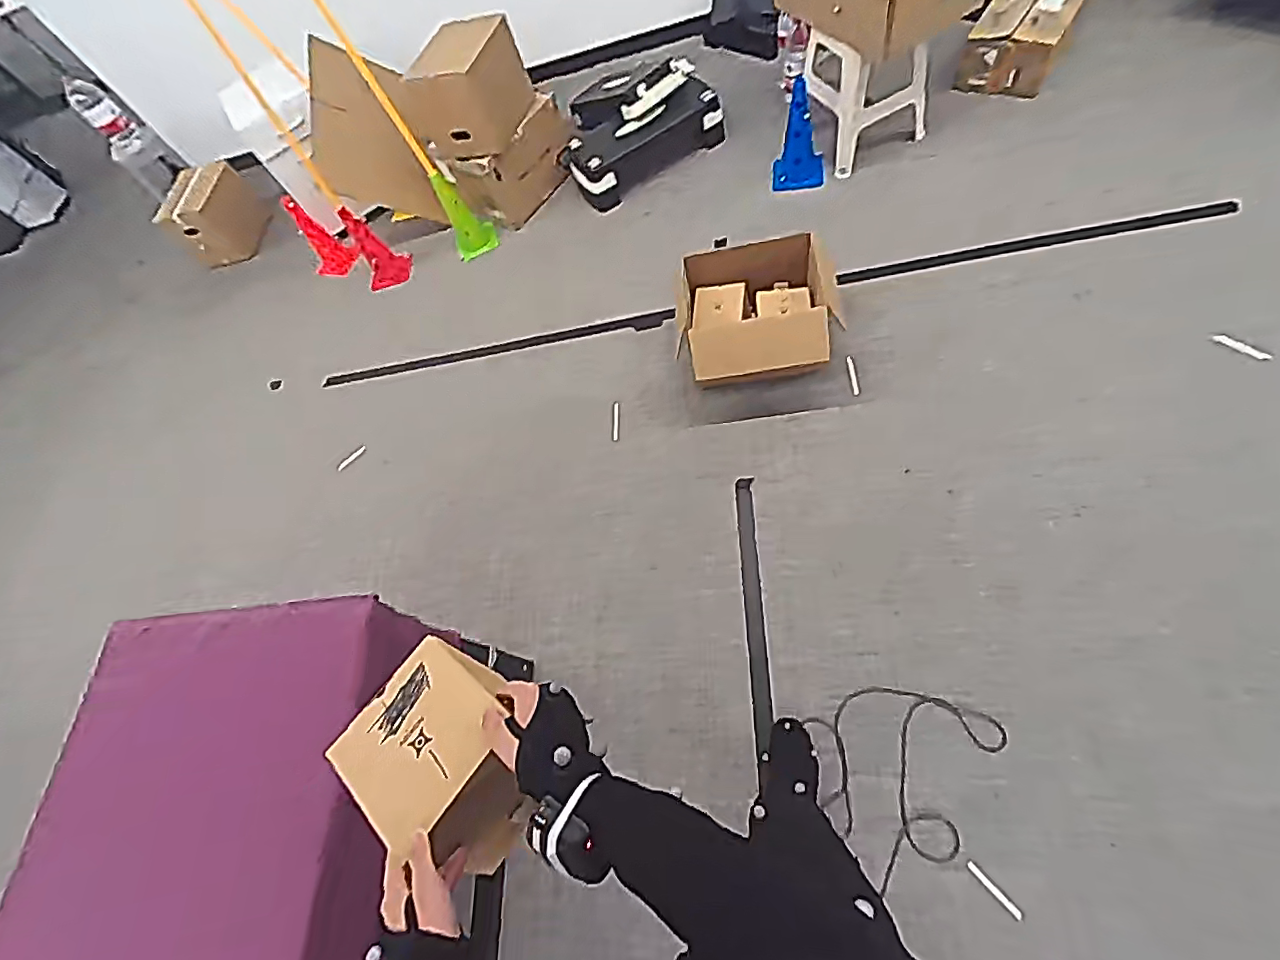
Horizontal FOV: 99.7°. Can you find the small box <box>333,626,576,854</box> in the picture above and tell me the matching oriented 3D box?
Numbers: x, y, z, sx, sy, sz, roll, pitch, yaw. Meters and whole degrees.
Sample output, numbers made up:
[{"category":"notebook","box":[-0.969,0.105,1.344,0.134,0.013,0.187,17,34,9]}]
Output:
[{"category":"small box","box":[-0.211,0.313,0.645,0.179,0.176,0.168,26,68,36]}]
